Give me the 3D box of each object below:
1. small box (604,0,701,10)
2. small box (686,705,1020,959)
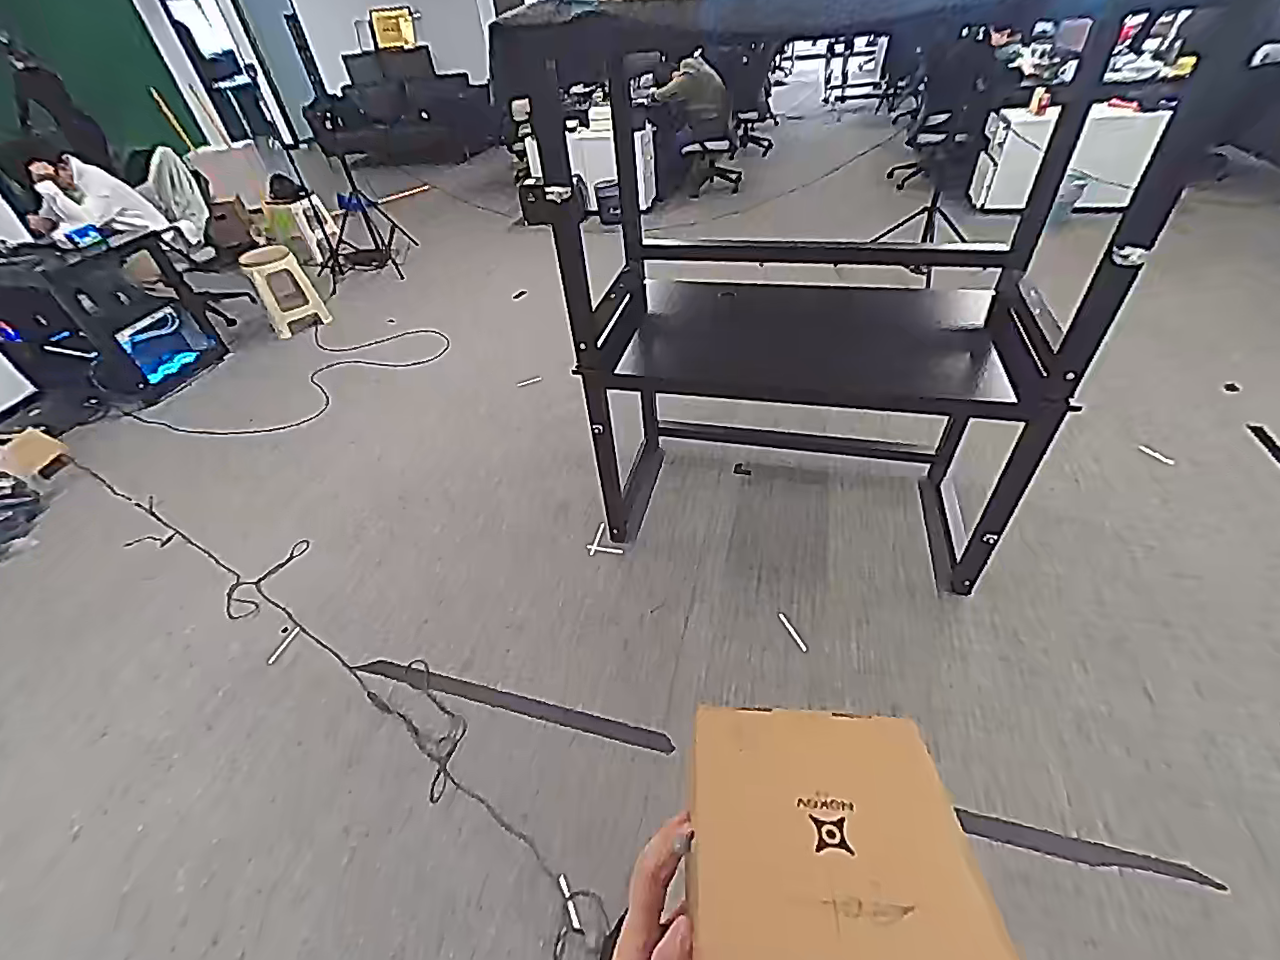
[{"bbox_3d":[0.025,-0.945,0.950,0.168,0.176,0.179,9,42,13],"label":"small box"},{"bbox_3d":[0.117,0.287,0.372,0.168,0.176,0.179,2,28,3],"label":"small box"}]
